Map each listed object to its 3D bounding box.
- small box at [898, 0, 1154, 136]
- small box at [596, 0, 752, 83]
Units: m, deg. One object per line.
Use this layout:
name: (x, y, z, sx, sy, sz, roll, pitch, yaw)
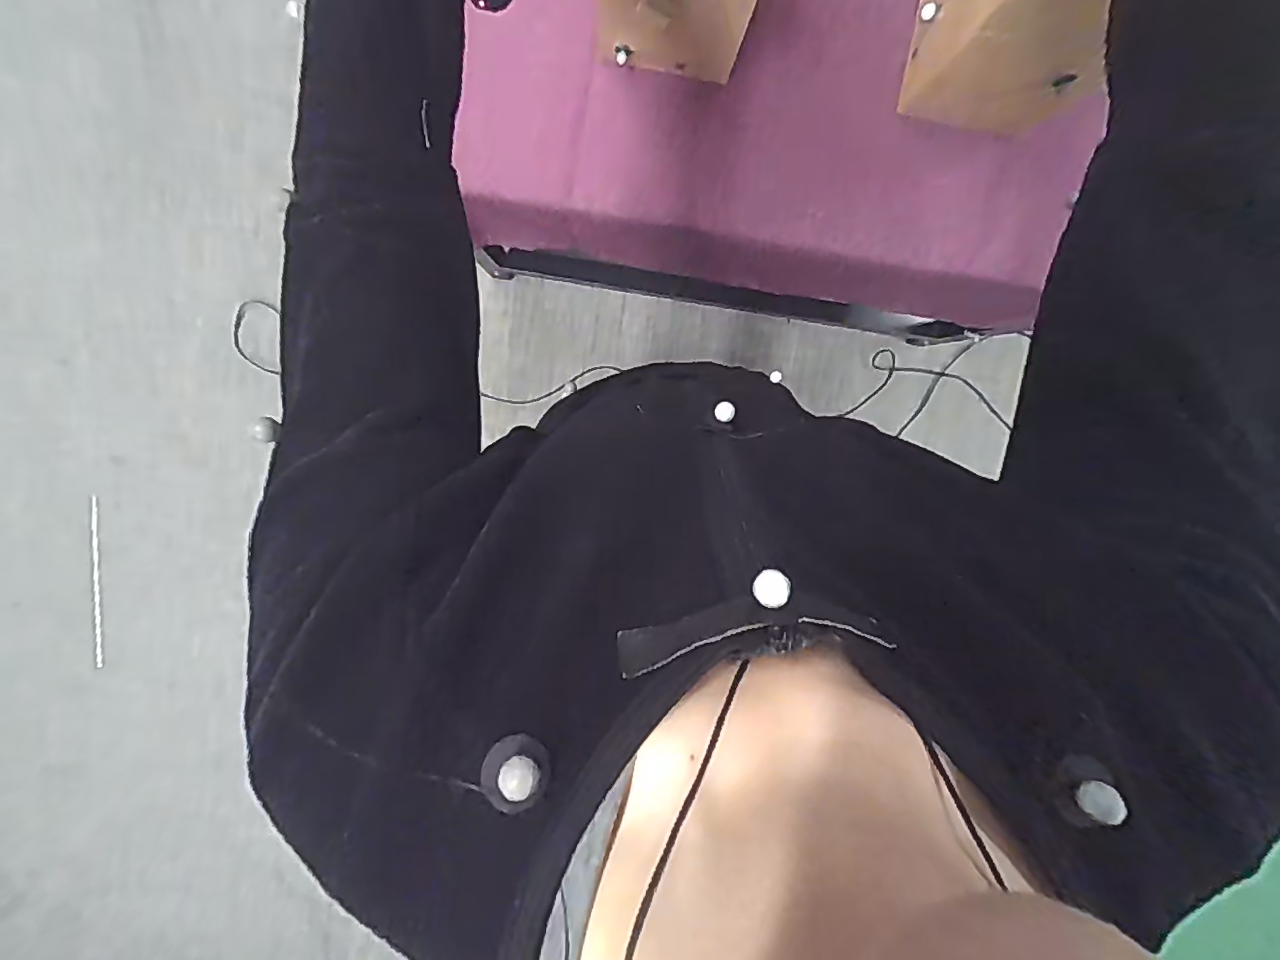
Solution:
small box: (0.433, -0.525, 0.615, 0.179, 0.176, 0.168, 9, 98, -4)
small box: (0.044, -0.578, 0.588, 0.168, 0.176, 0.179, 8, 98, -5)
